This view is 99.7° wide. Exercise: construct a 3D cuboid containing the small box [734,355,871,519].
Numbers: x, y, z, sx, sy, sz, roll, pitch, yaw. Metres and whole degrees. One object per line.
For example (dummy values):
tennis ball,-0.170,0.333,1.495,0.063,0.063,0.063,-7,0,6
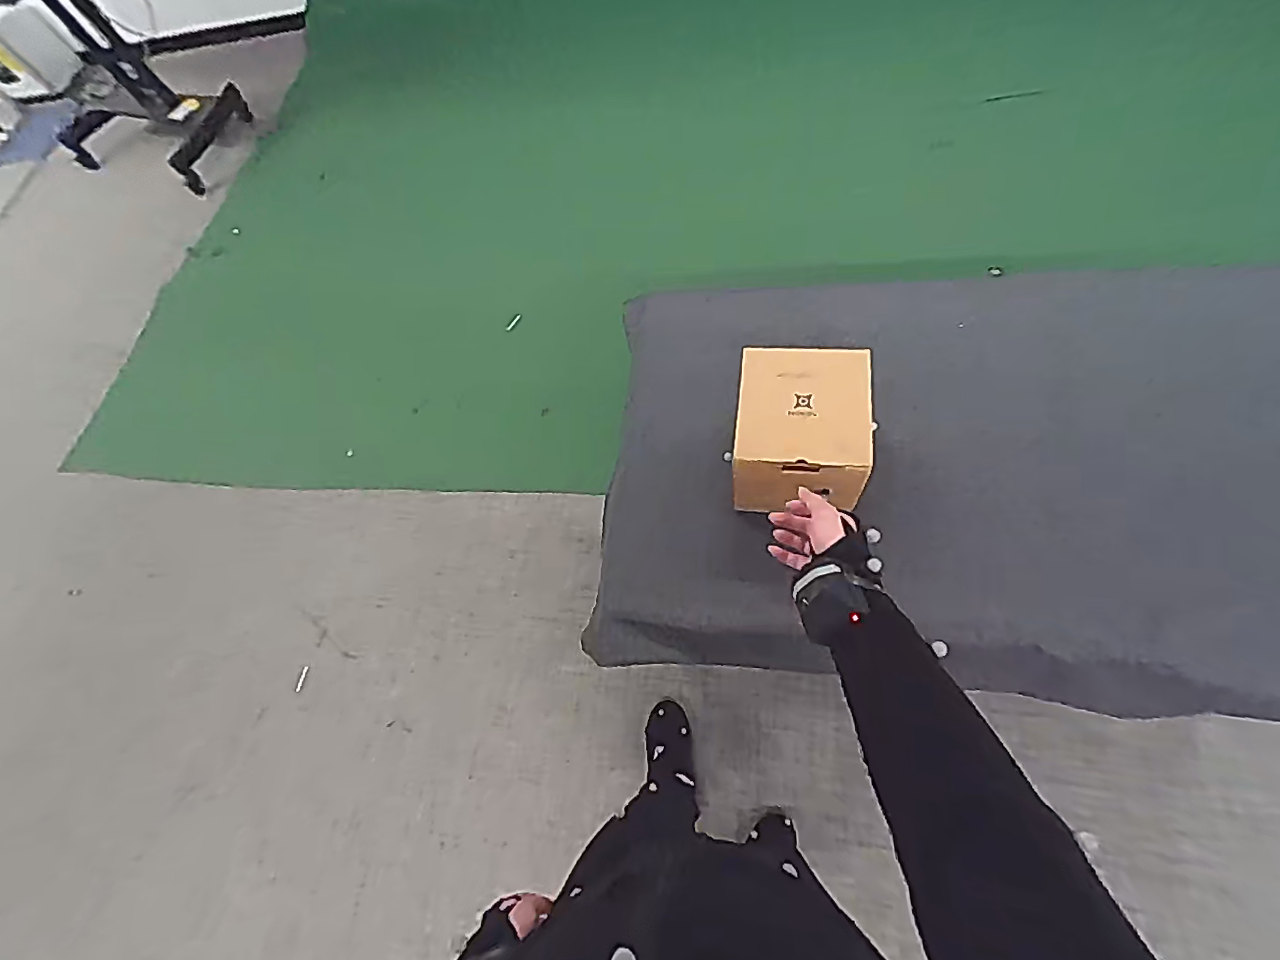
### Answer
small box,0.222,-0.055,0.766,0.168,0.176,0.179,4,65,10
